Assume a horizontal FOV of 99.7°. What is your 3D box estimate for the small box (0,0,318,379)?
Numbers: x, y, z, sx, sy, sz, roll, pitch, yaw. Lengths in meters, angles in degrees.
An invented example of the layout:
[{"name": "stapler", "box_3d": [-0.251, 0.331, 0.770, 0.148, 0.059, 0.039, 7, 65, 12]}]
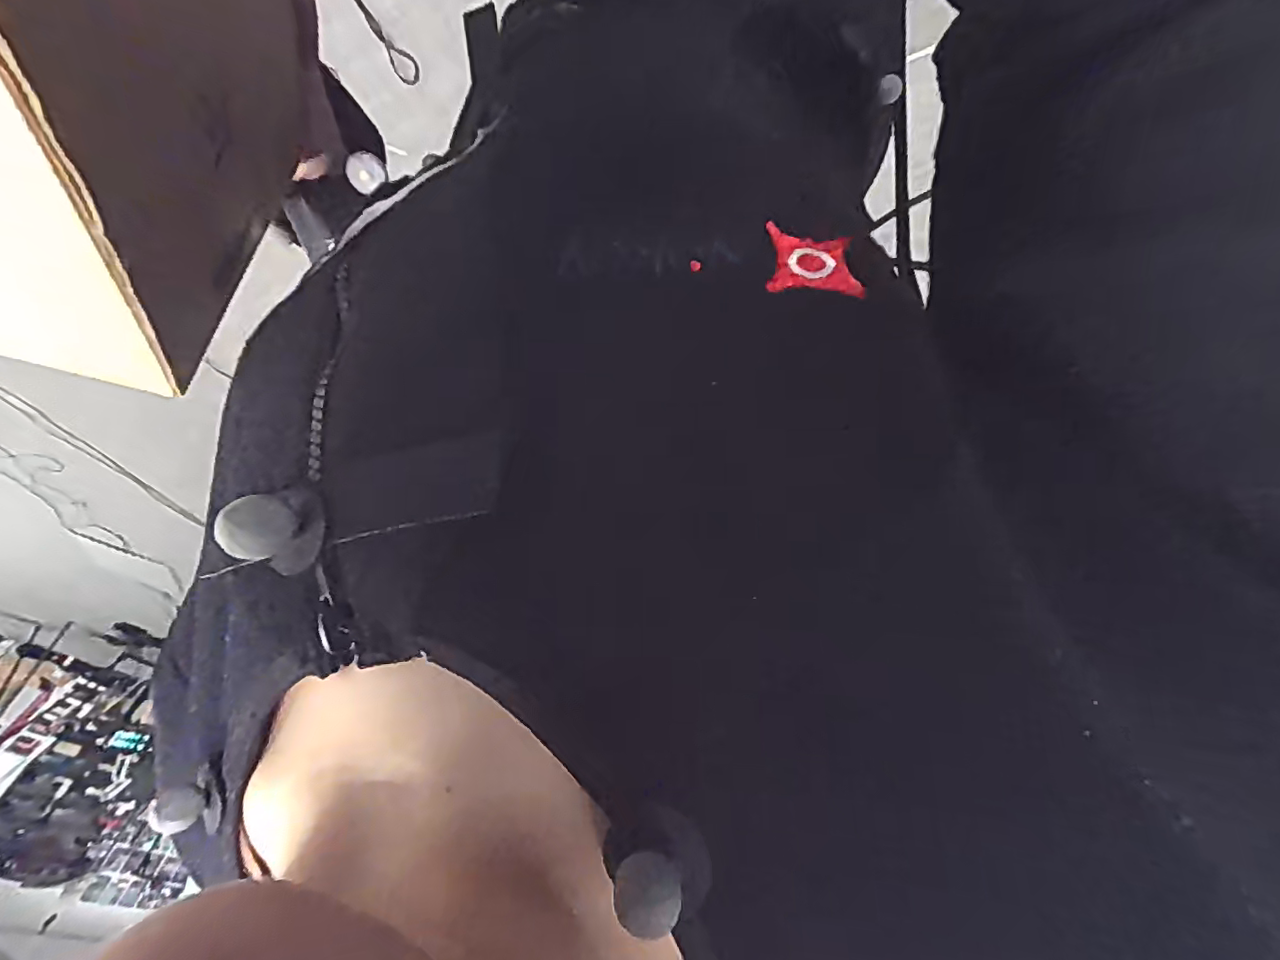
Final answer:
[{"name": "small box", "box_3d": [-0.231, -0.167, 0.183, 0.176, 0.168, 0.179, 16, 152, -22]}]
